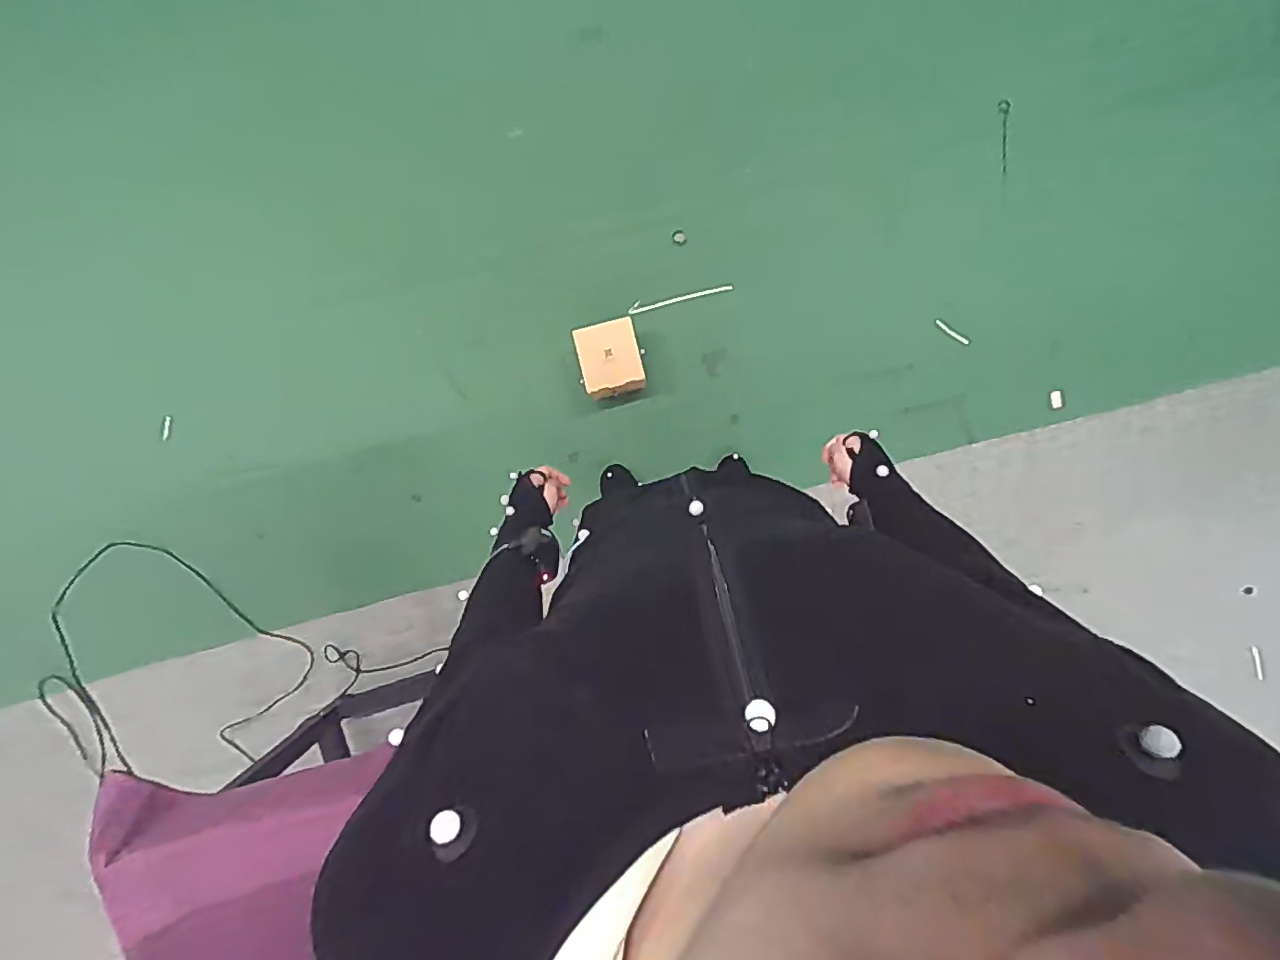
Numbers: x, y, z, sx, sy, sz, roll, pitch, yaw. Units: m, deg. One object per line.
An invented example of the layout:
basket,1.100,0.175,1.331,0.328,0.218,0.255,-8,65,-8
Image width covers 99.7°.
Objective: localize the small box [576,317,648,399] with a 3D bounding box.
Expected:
small box,-0.077,-0.341,1.541,0.168,0.176,0.179,-15,93,1
